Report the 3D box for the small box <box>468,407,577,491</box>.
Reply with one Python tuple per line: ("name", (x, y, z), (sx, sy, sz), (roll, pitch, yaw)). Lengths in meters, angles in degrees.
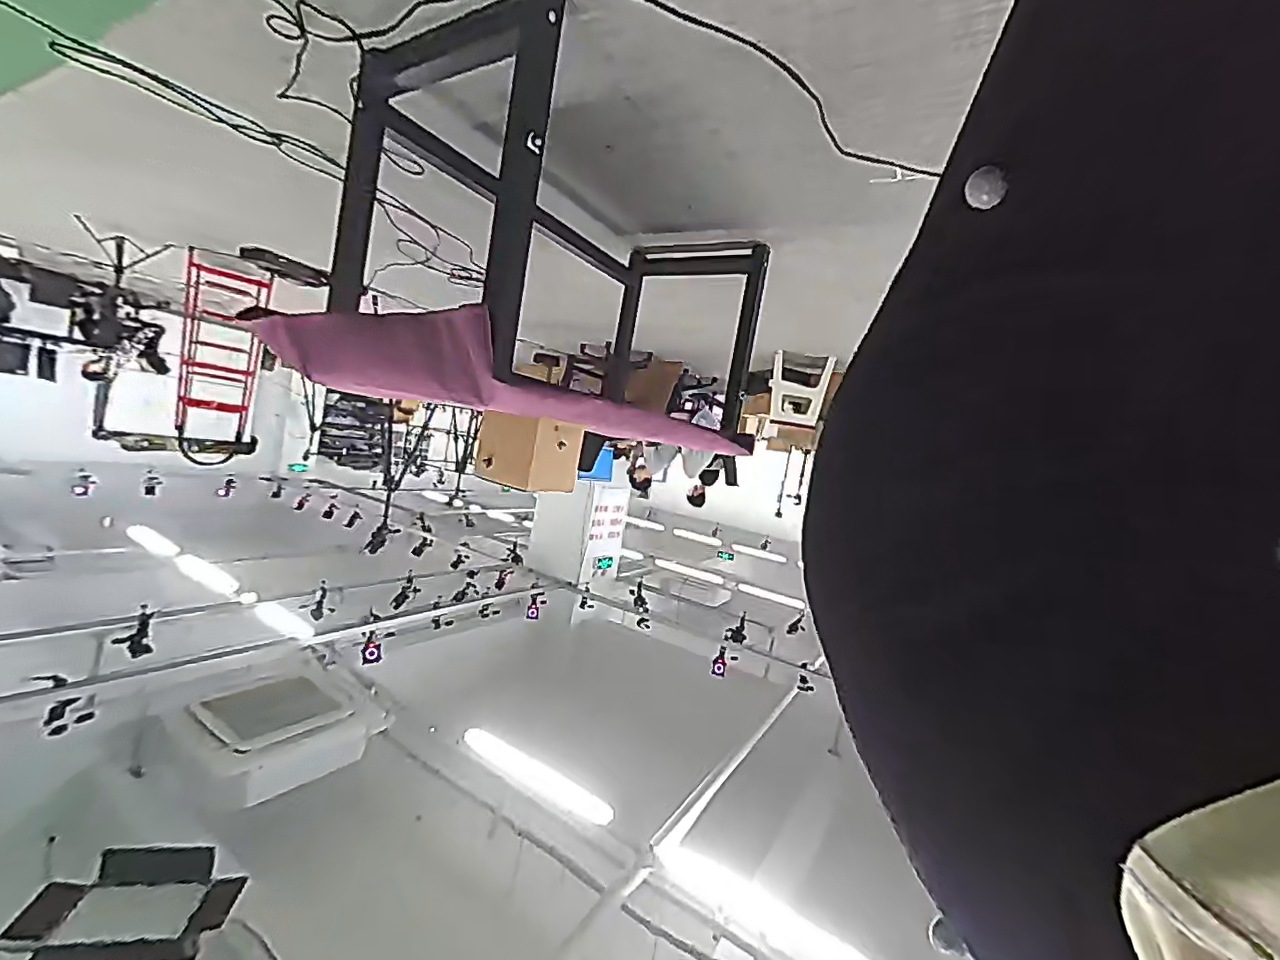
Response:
("small box", (-0.270, -0.074, 1.267), (0.179, 0.176, 0.168), (13, -174, 30))
